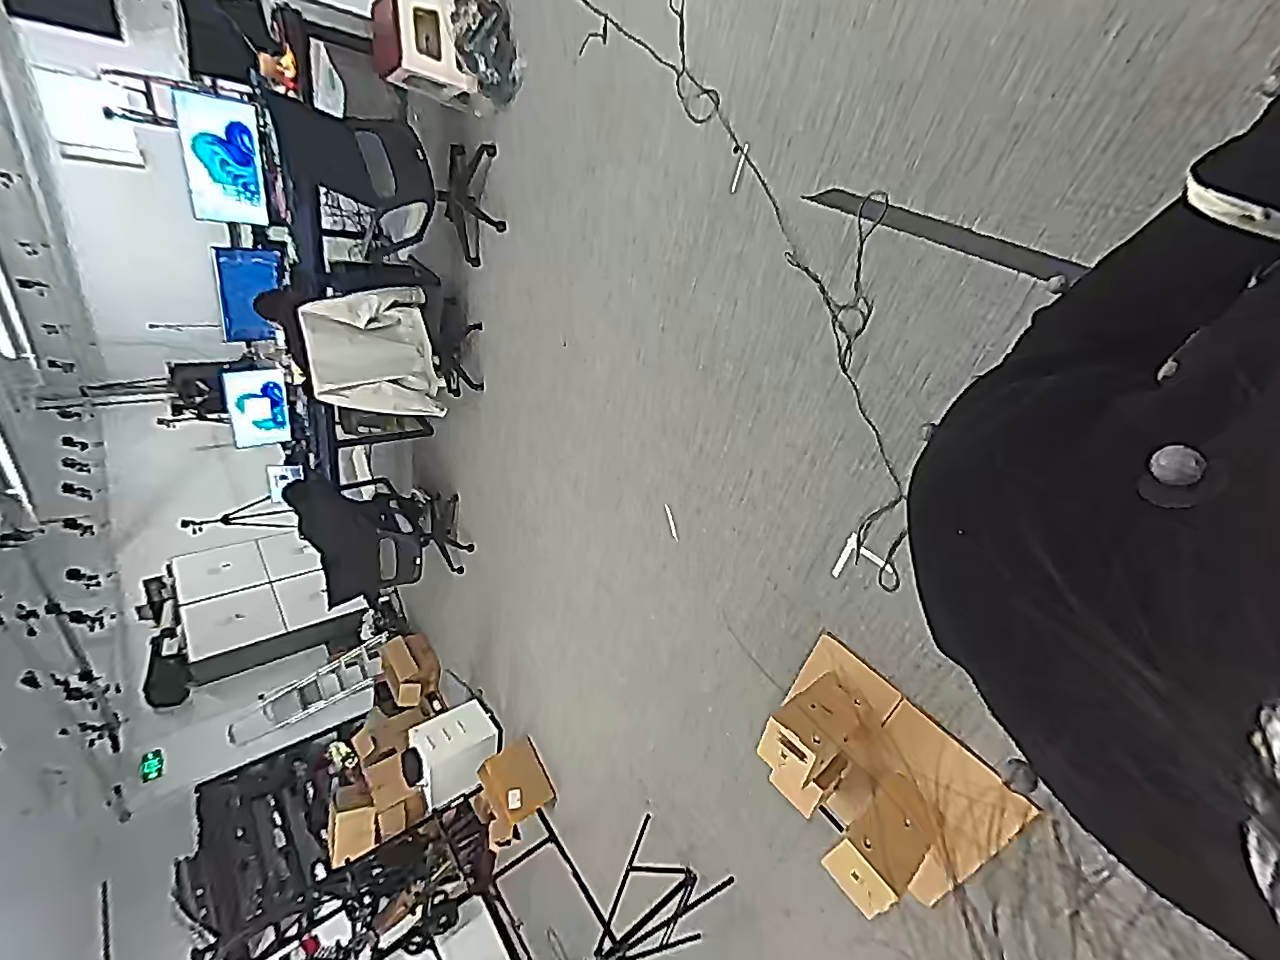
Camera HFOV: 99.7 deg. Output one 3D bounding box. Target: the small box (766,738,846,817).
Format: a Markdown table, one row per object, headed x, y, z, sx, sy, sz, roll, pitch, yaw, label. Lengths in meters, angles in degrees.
| x | y | z | sx | sy | sz | roll | pitch | yaw | label |
| --- | --- | --- | --- | --- | --- | --- | --- | --- | --- |
| 0.576 | 1.009 | 1.877 | 0.179 | 0.176 | 0.168 | 35 | 127 | 37 | small box |

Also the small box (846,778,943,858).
| x | y | z | sx | sy | sz | roll | pitch | yaw | label |
| --- | --- | --- | --- | --- | --- | --- | --- | --- | --- |
| 0.777 | 1.048 | 1.649 | 0.179 | 0.176 | 0.168 | 42 | 130 | 32 | small box |

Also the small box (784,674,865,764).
| x | y | z | sx | sy | sz | roll | pitch | yaw | label |
| --- | --- | --- | --- | --- | --- | --- | --- | --- | --- |
| 0.606 | 0.773 | 1.767 | 0.168 | 0.176 | 0.179 | 36 | 127 | 38 | small box |

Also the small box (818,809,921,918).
| x | y | z | sx | sy | sz | roll | pitch | yaw | label |
| --- | --- | --- | --- | --- | --- | --- | --- | --- | --- |
| 0.655 | 1.082 | 1.544 | 0.179 | 0.176 | 0.168 | 43 | 131 | 31 | small box |
